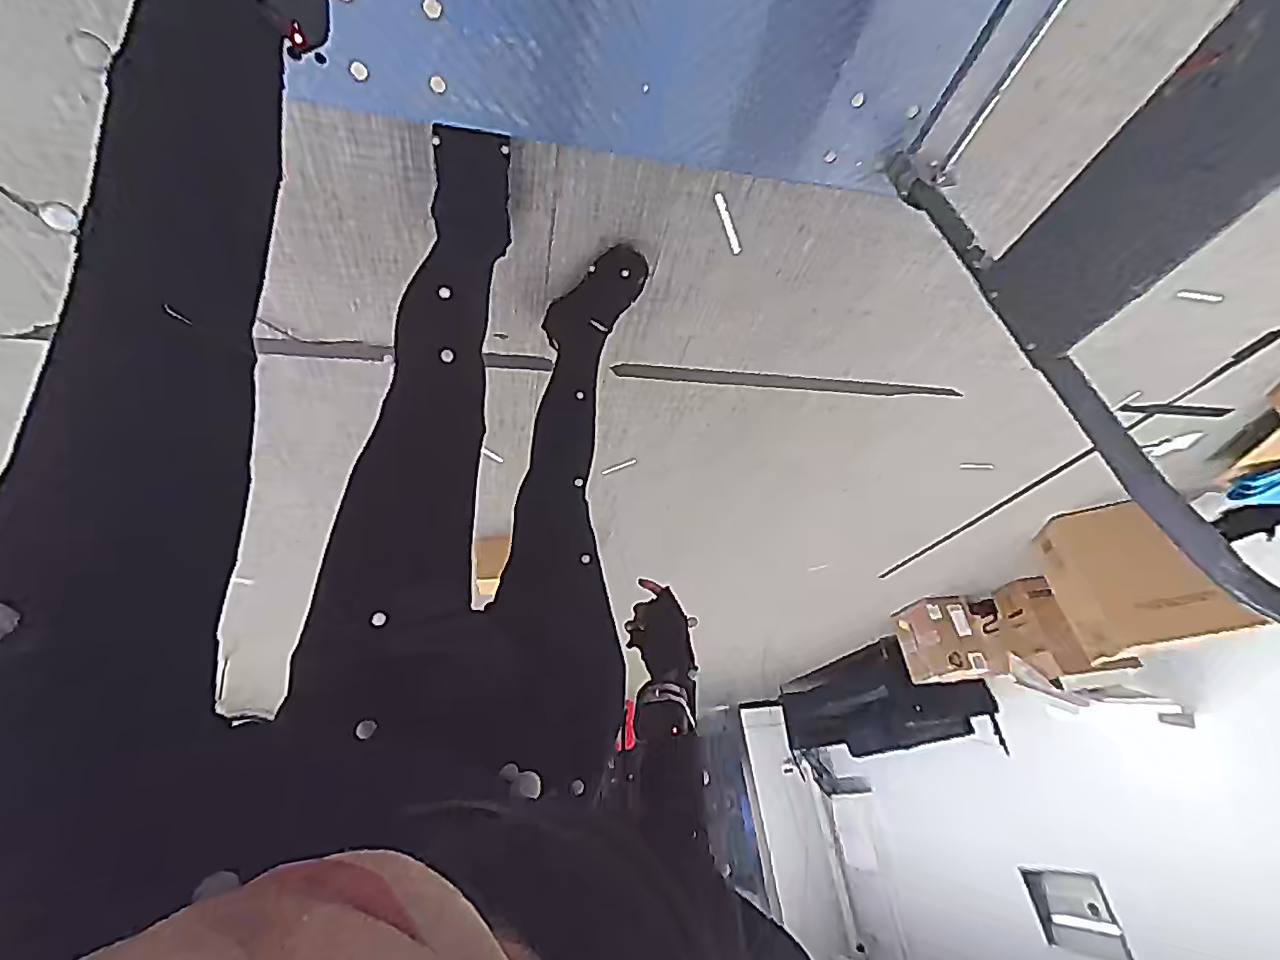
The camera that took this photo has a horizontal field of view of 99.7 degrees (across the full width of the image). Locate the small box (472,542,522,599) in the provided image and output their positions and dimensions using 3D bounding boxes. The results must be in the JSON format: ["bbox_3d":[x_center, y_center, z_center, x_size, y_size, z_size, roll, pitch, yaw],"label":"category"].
[{"bbox_3d":[-0.544,0.343,2.067,0.179,0.176,0.168,-1,149,-11],"label":"small box"}]
